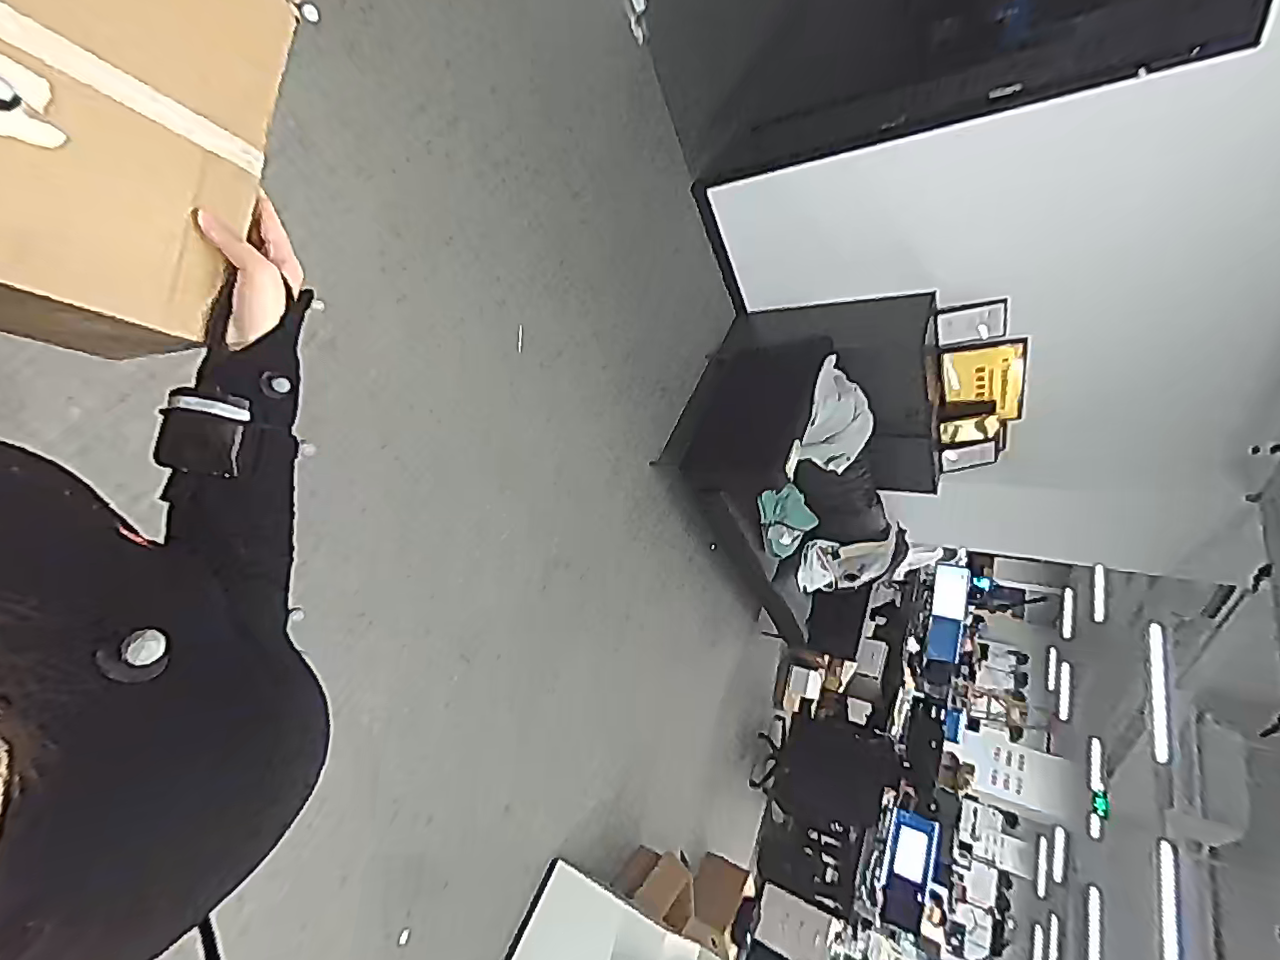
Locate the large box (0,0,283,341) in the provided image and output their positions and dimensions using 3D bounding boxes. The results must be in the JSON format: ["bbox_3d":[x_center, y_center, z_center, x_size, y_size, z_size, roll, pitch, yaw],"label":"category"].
[{"bbox_3d":[-0.559,-0.318,0.372,0.408,0.320,0.320,16,83,-55],"label":"large box"}]
